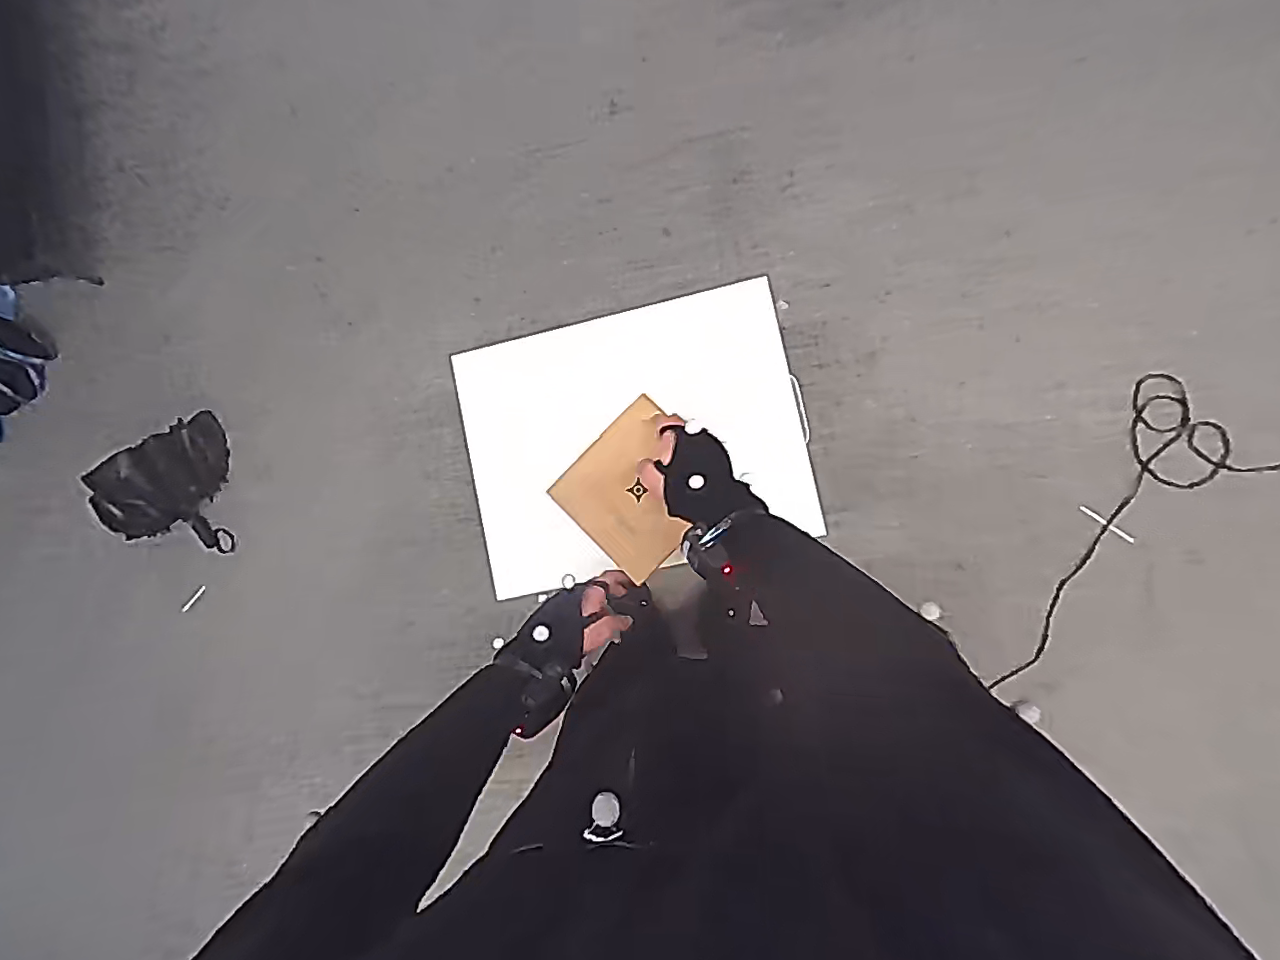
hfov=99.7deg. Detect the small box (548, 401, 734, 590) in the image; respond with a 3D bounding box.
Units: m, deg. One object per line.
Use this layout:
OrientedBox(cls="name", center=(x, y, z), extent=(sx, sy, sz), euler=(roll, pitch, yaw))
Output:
OrientedBox(cls="small box", center=(0.009, 0.022, 0.740), extent=(0.168, 0.176, 0.179), euler=(40, 93, 9))
